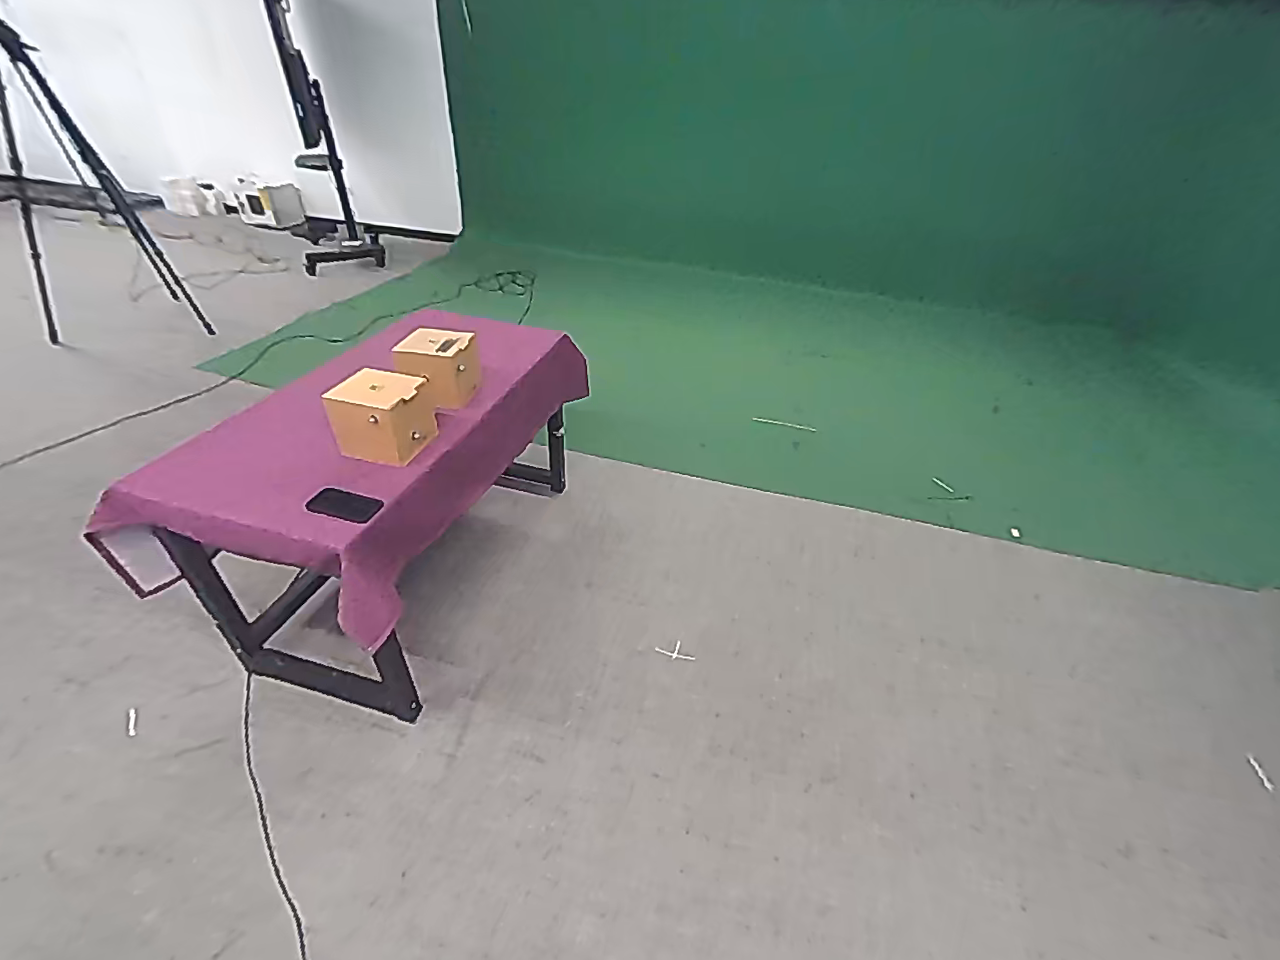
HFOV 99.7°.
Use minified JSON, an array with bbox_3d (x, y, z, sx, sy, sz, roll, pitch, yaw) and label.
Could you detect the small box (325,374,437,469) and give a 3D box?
[{"bbox_3d":[-0.637,-0.146,1.352,0.179,0.176,0.168,12,37,9],"label":"small box"}]
